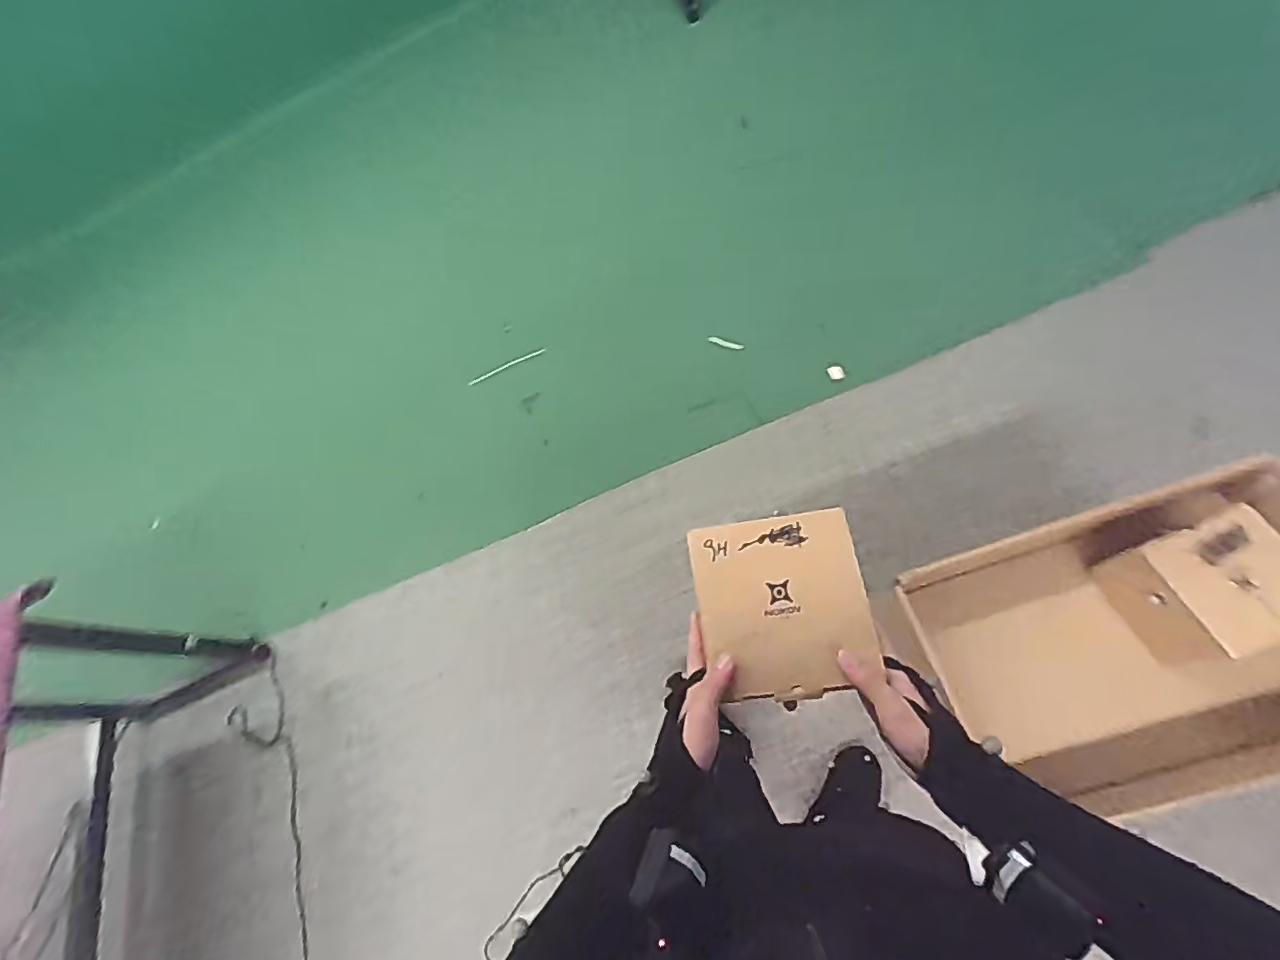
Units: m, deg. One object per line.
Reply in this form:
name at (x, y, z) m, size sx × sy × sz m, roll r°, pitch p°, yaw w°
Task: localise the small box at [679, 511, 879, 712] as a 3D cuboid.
small box at (0.144, 0.150, 0.603) m, size 0.168 × 0.176 × 0.179 m, roll -10°, pitch 70°, yaw 6°
